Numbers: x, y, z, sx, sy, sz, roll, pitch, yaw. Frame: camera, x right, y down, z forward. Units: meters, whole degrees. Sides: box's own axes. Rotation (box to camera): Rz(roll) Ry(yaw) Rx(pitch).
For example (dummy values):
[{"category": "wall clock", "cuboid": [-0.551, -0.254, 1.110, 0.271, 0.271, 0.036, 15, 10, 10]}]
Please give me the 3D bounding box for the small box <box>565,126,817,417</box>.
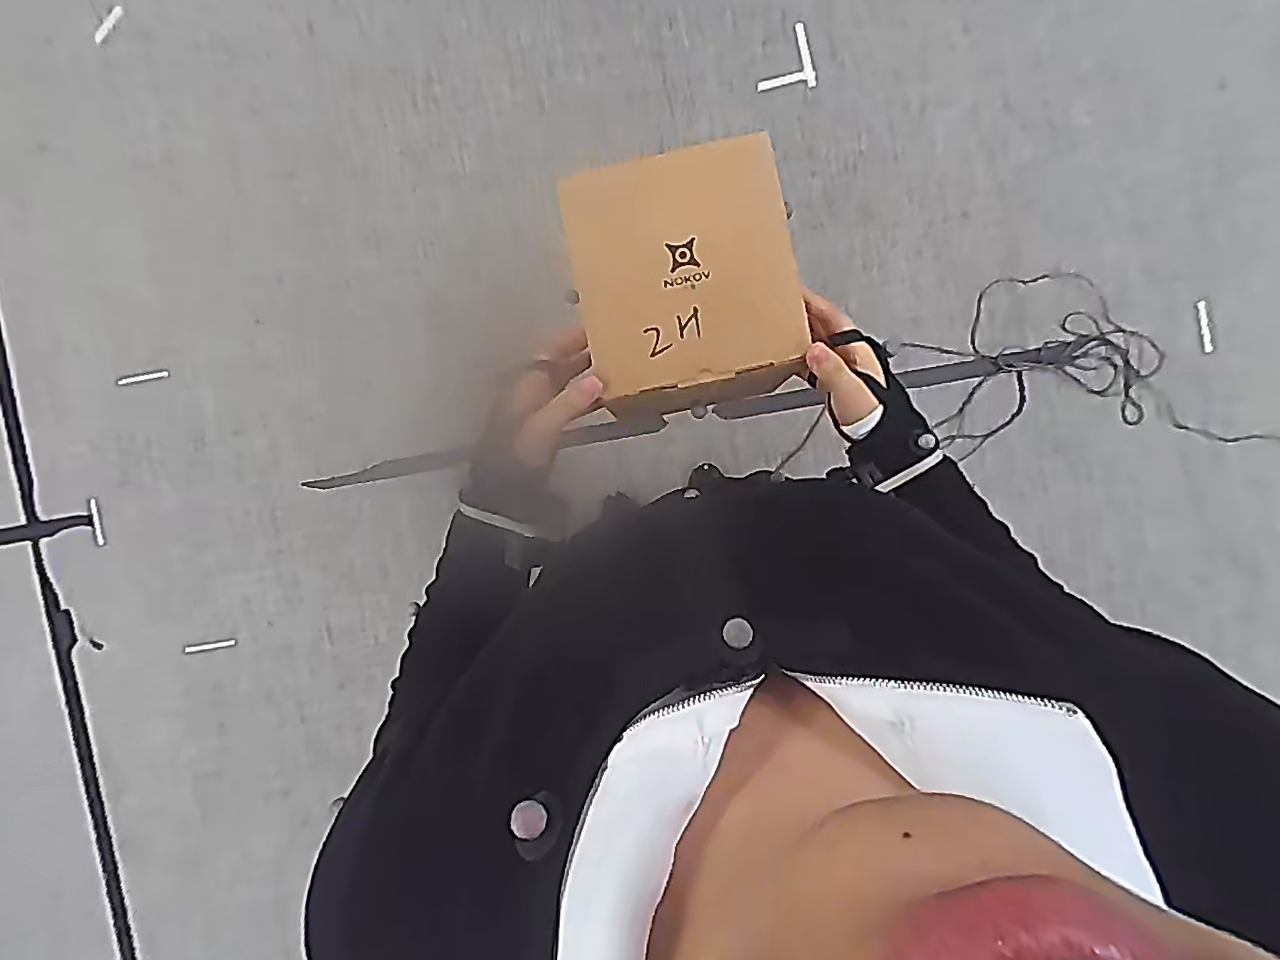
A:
[{"category": "small box", "cuboid": [0.040, -0.164, 0.483, 0.168, 0.176, 0.179, -11, 89, 4]}]
